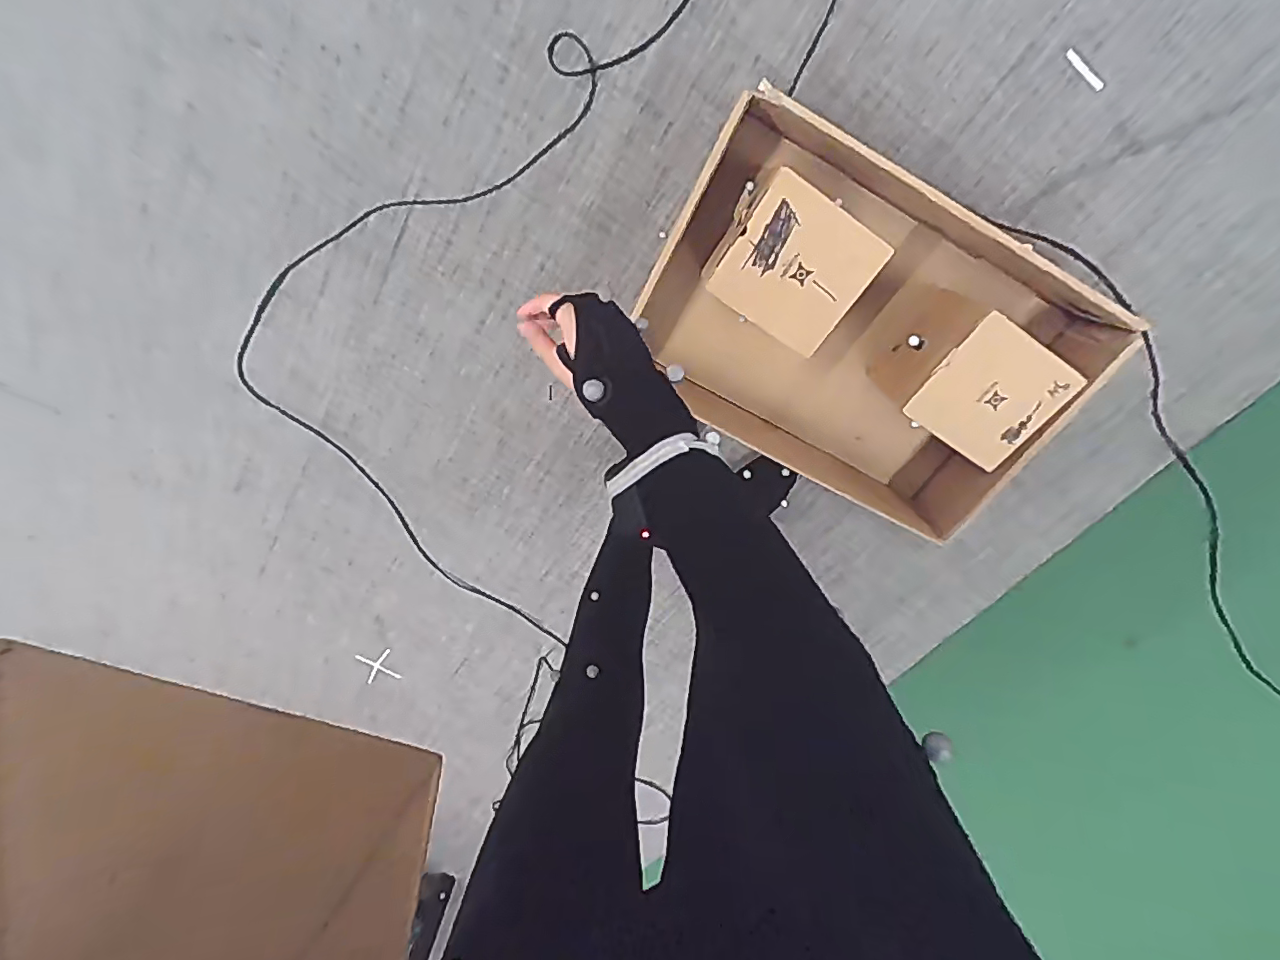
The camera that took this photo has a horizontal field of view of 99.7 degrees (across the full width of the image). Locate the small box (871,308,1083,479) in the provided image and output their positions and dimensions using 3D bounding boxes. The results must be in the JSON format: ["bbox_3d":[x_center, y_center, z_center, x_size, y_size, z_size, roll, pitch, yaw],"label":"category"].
[{"bbox_3d":[0.480,-0.137,0.805,0.179,0.176,0.168,32,115,-10],"label":"small box"}]
